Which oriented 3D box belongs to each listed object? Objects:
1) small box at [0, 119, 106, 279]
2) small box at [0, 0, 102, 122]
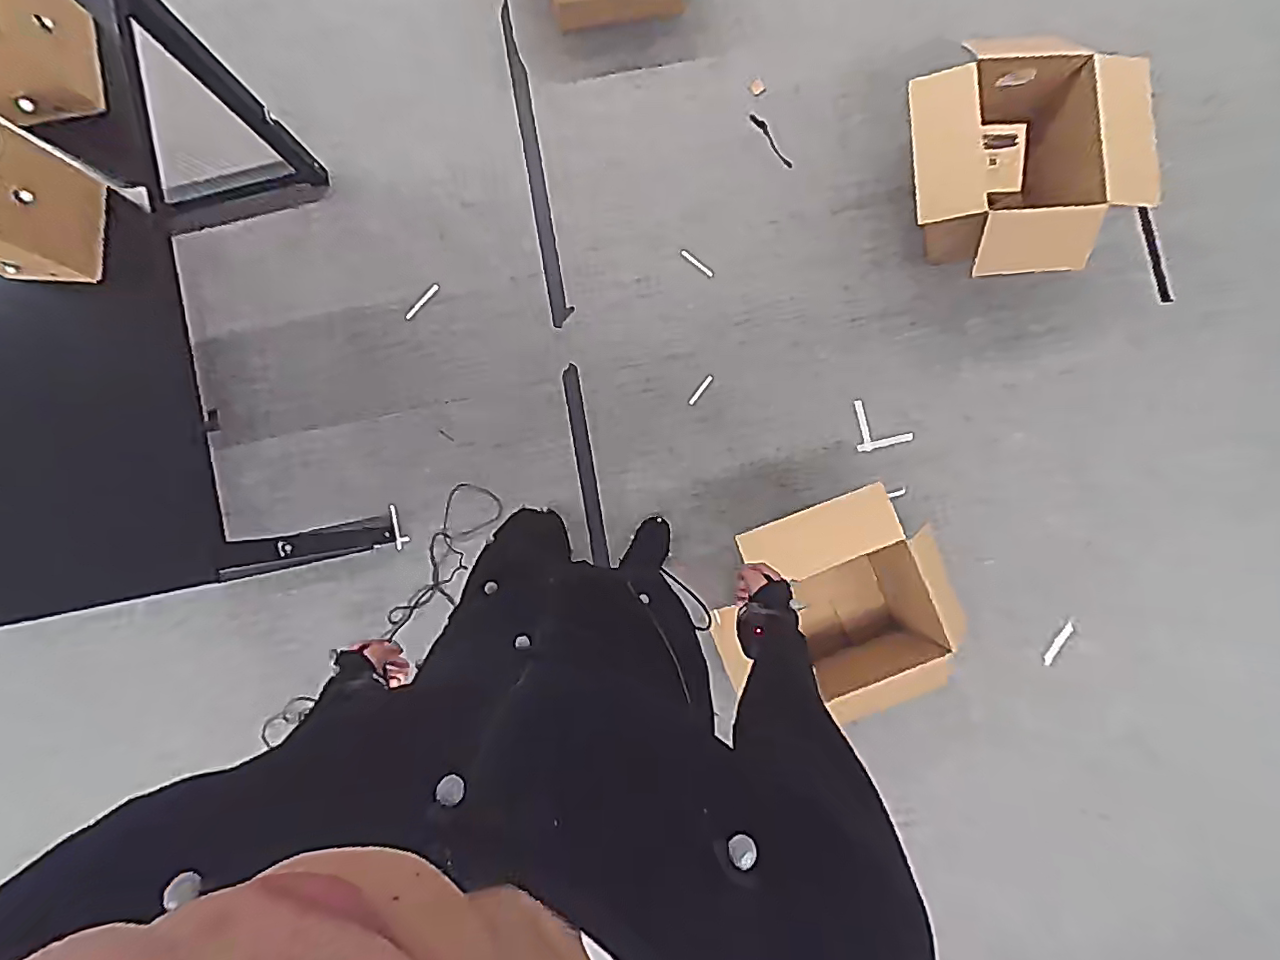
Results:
[{"bbox_3d":[-1.011,-0.442,0.861,0.168,0.176,0.179,2,89,2],"label":"small box"},{"bbox_3d":[-1.028,-0.721,0.865,0.168,0.176,0.179,-10,90,1],"label":"small box"}]
